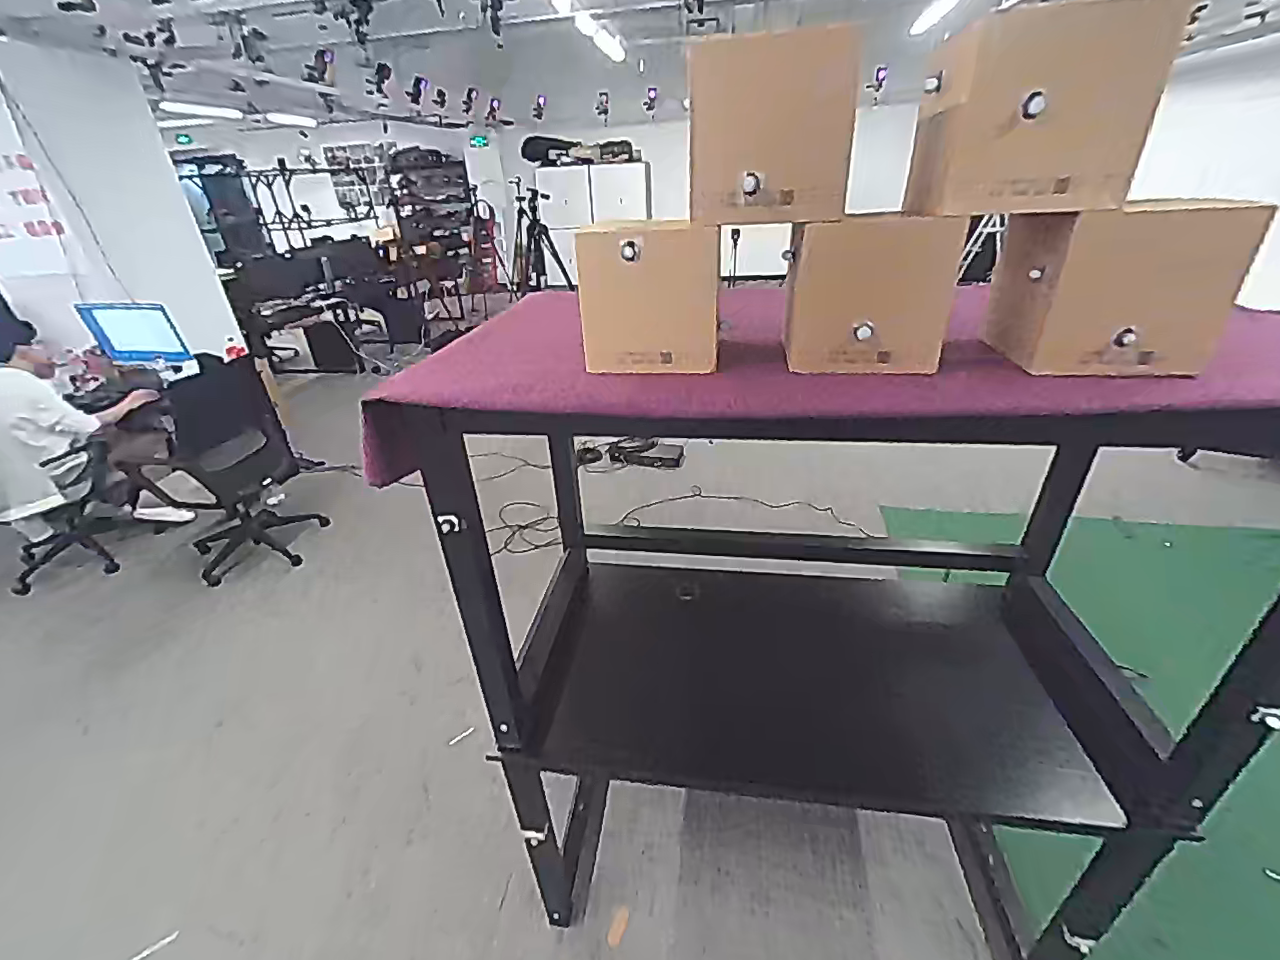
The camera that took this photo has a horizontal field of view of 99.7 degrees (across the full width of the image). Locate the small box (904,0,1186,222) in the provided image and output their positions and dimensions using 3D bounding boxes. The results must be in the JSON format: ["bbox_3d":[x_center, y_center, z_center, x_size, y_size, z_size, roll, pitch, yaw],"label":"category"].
[{"bbox_3d":[0.397,-0.368,0.572,0.168,0.176,0.179,2,28,11],"label":"small box"}]

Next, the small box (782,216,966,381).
[{"bbox_3d":[0.270,-0.230,0.672,0.168,0.176,0.179,2,29,10],"label":"small box"}]

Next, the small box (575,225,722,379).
[{"bbox_3d":[0.020,-0.239,0.711,0.168,0.176,0.179,1,27,9],"label":"small box"}]

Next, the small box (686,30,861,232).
[{"bbox_3d":[0.144,-0.381,0.618,0.168,0.176,0.179,2,28,11],"label":"small box"}]
